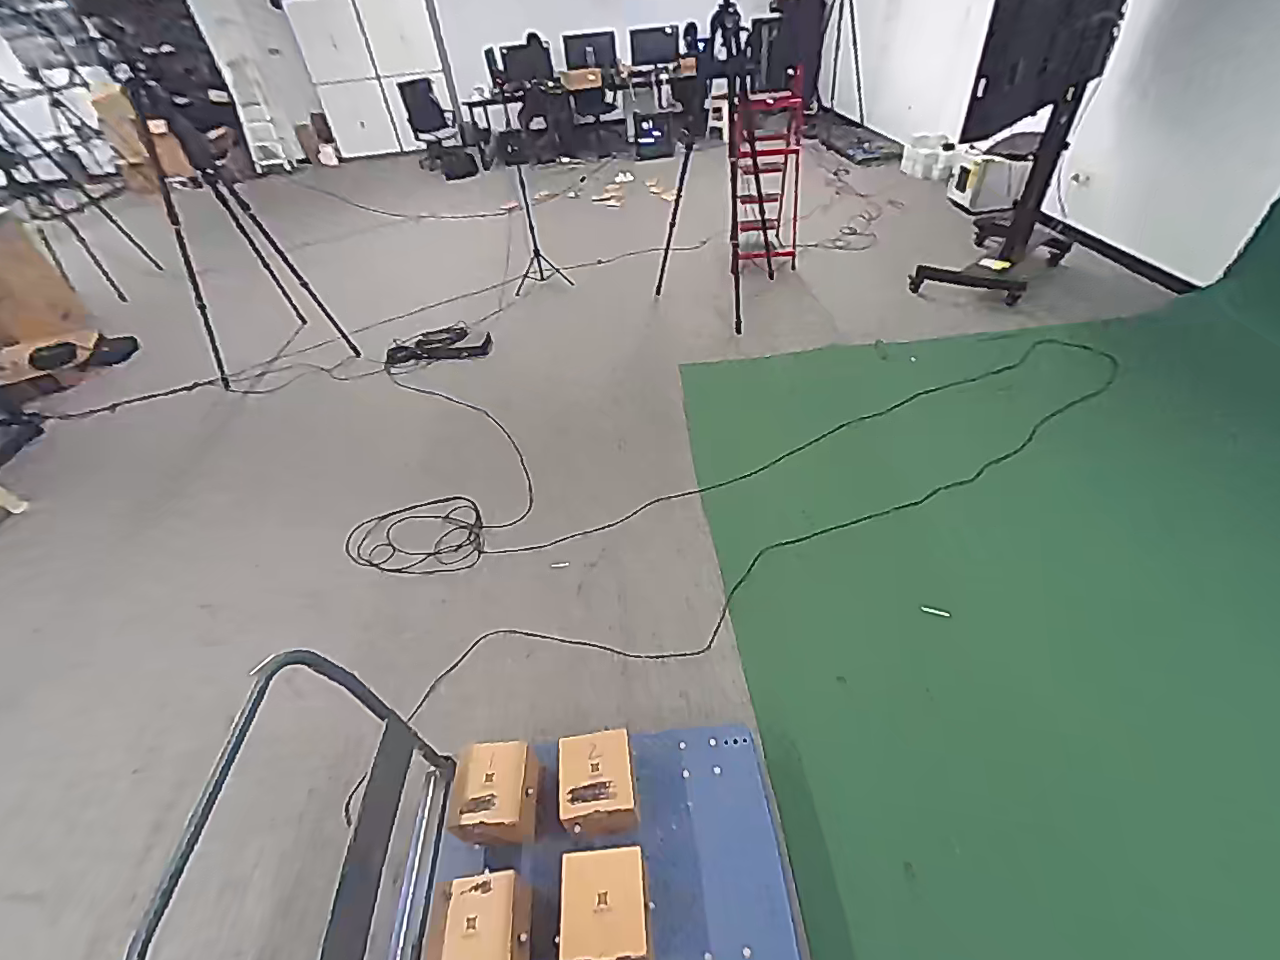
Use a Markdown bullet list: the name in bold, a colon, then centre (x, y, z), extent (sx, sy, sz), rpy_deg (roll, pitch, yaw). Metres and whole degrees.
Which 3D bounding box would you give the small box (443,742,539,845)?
- **small box**: centre (-0.344, 0.751, 1.289), extent (0.168, 0.176, 0.179), rpy_deg (-4, 42, 2)

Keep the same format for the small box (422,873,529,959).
- **small box**: centre (-0.325, 0.927, 1.095), extent (0.168, 0.176, 0.179), rpy_deg (-8, 43, -1)
